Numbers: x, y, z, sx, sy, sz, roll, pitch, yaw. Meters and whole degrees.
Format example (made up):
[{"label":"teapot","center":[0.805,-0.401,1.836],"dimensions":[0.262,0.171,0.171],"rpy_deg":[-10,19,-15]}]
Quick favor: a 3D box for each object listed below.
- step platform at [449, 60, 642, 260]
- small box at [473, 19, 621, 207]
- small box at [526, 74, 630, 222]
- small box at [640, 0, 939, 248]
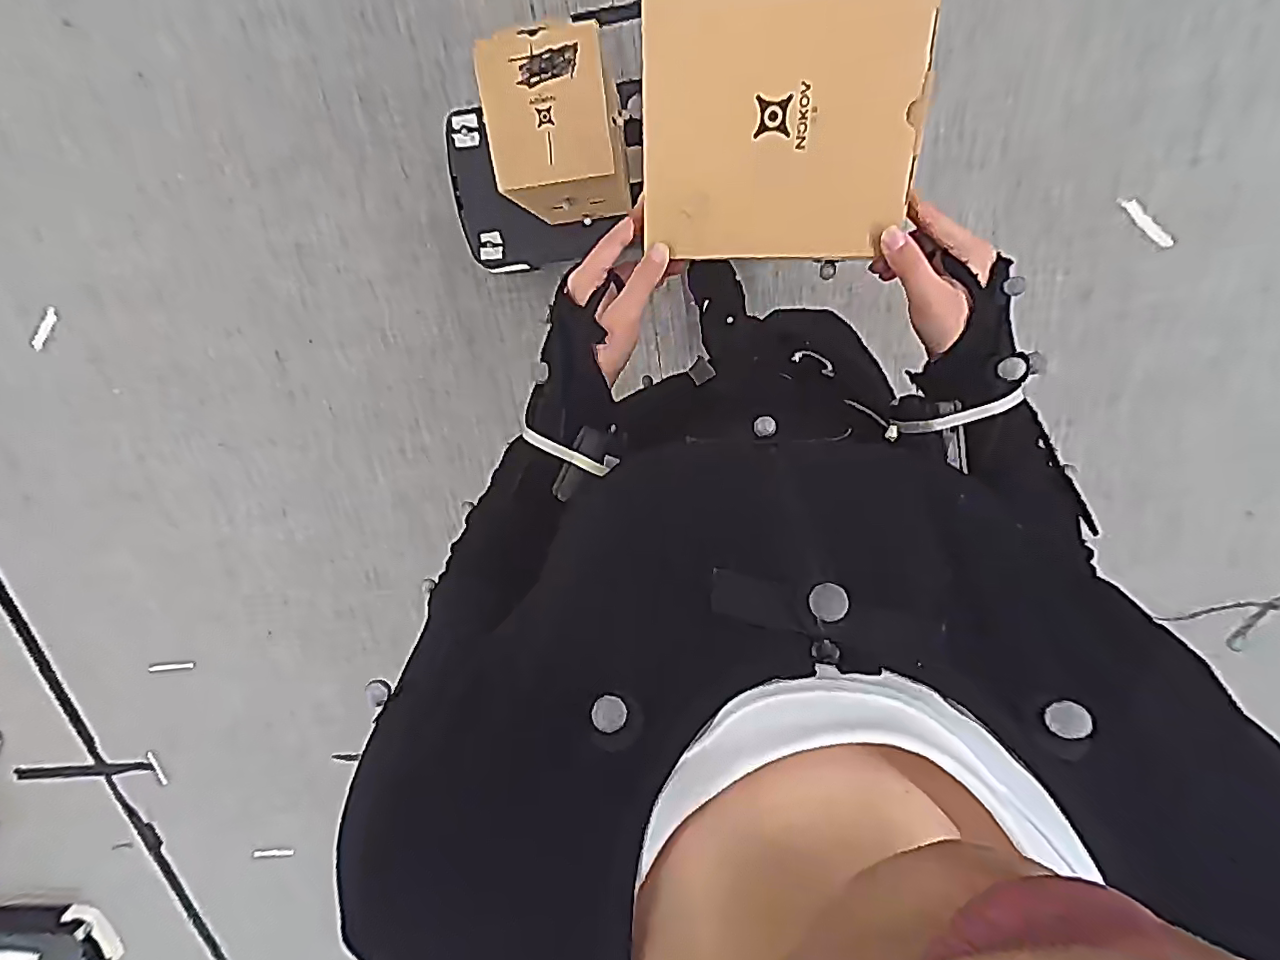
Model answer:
[{"label":"step platform","center":[-0.023,-0.644,1.090],"dimensions":[0.684,0.204,0.286],"rpy_deg":[-7,108,6]},{"label":"small box","center":[-0.122,-0.513,0.783],"dimensions":[0.168,0.176,0.179],"rpy_deg":[-6,109,5]},{"label":"small box","center":[-0.111,-0.563,0.939],"dimensions":[0.168,0.176,0.179],"rpy_deg":[-5,109,5]},{"label":"small box","center":[0.093,-0.268,0.411],"dimensions":[0.179,0.176,0.168],"rpy_deg":[1,113,3]}]
